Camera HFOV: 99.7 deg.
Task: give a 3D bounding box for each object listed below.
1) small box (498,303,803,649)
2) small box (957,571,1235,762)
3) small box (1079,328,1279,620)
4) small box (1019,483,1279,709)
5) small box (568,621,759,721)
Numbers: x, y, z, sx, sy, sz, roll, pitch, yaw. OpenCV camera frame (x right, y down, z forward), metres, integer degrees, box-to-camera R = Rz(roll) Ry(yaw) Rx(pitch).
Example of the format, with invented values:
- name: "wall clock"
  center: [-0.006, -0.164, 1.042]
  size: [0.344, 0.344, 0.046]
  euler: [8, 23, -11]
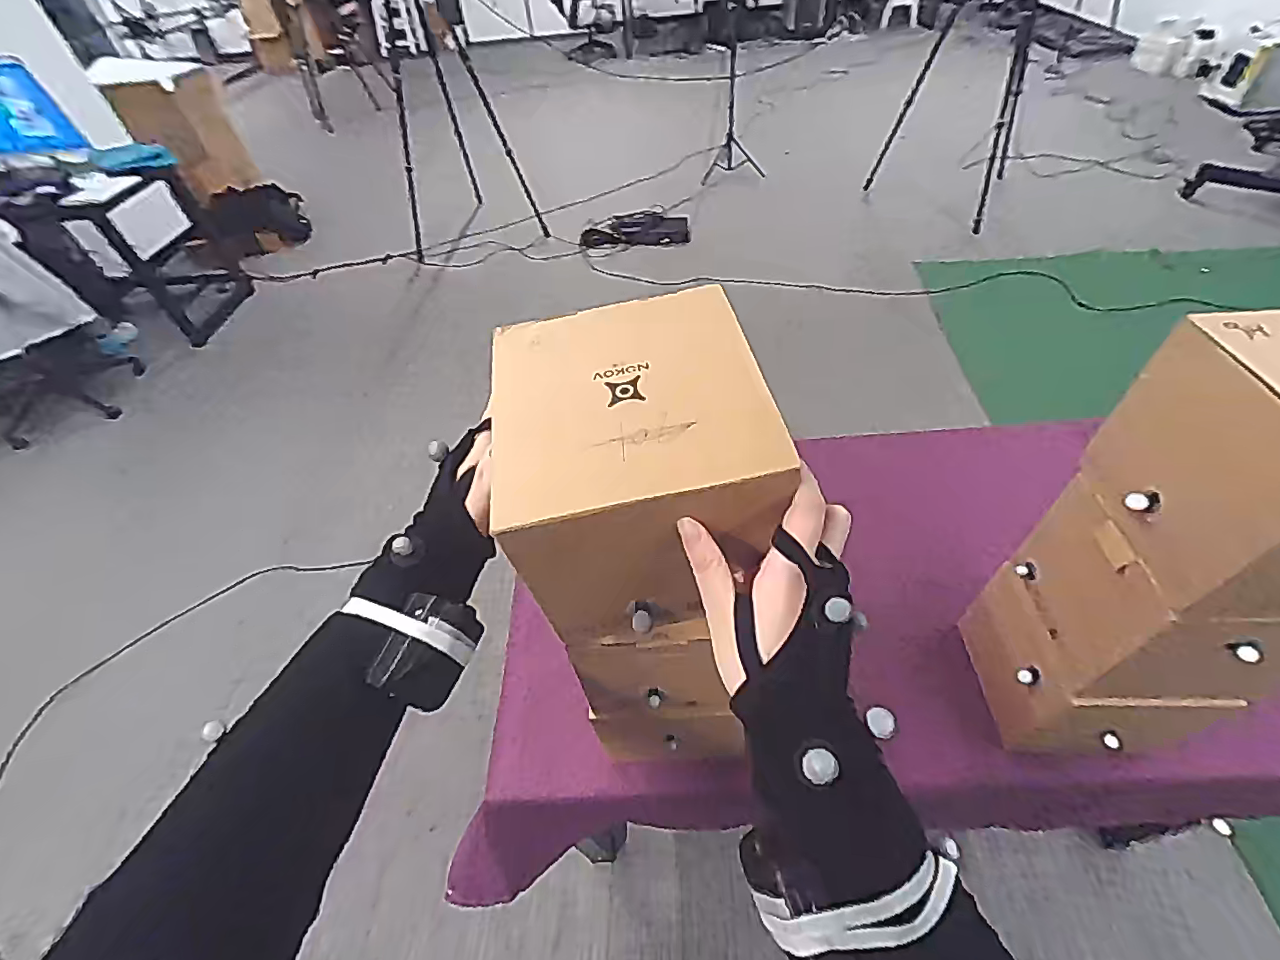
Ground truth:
- name: "small box"
  center: [0.003, 0.001, 0.398]
  size: [0.168, 0.176, 0.179]
  euler: [-10, 52, 0]
- name: "small box"
  center: [0.525, 0.229, 0.659]
  size: [0.168, 0.176, 0.179]
  euler: [-1, 48, 5]
- name: "small box"
  center: [0.506, 0.001, 0.423]
  size: [0.168, 0.176, 0.179]
  euler: [-1, 49, 5]
- name: "small box"
  center: [0.520, 0.117, 0.539]
  size: [0.179, 0.176, 0.168]
  euler: [0, 48, 5]
- name: "small box"
  center: [0.024, 0.137, 0.573]
  size: [0.168, 0.176, 0.179]
  euler: [-4, 48, 3]
